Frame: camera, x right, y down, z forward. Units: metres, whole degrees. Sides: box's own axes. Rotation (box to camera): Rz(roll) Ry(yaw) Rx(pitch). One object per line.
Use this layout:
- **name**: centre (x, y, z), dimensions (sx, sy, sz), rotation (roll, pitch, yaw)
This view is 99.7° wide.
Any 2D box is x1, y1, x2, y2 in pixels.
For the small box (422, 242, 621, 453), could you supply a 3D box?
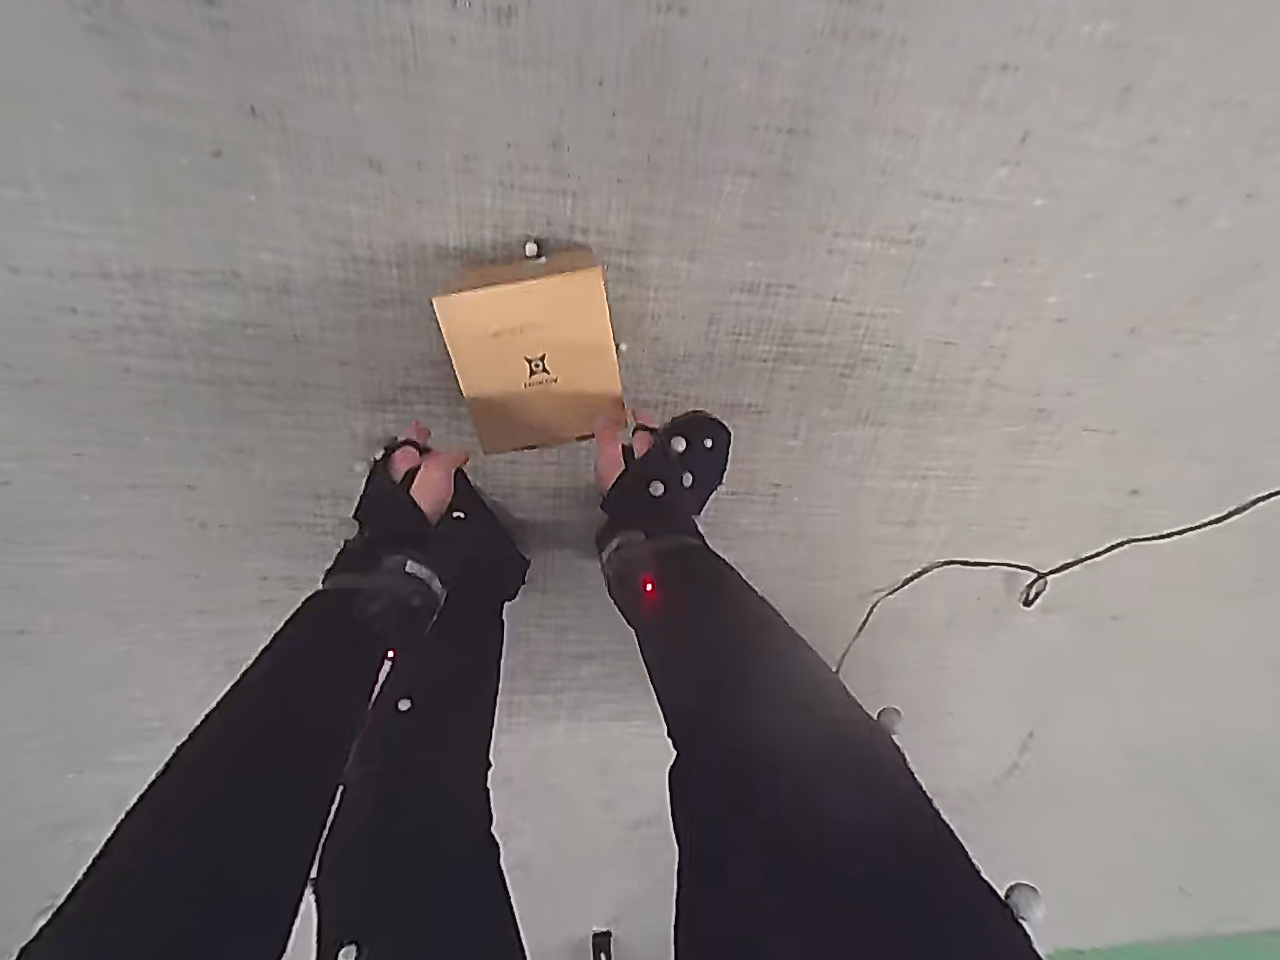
- **small box**: centre (-0.120, -0.157, 0.617), dimensions (0.168, 0.176, 0.179), rotation (-12, 120, -1)
